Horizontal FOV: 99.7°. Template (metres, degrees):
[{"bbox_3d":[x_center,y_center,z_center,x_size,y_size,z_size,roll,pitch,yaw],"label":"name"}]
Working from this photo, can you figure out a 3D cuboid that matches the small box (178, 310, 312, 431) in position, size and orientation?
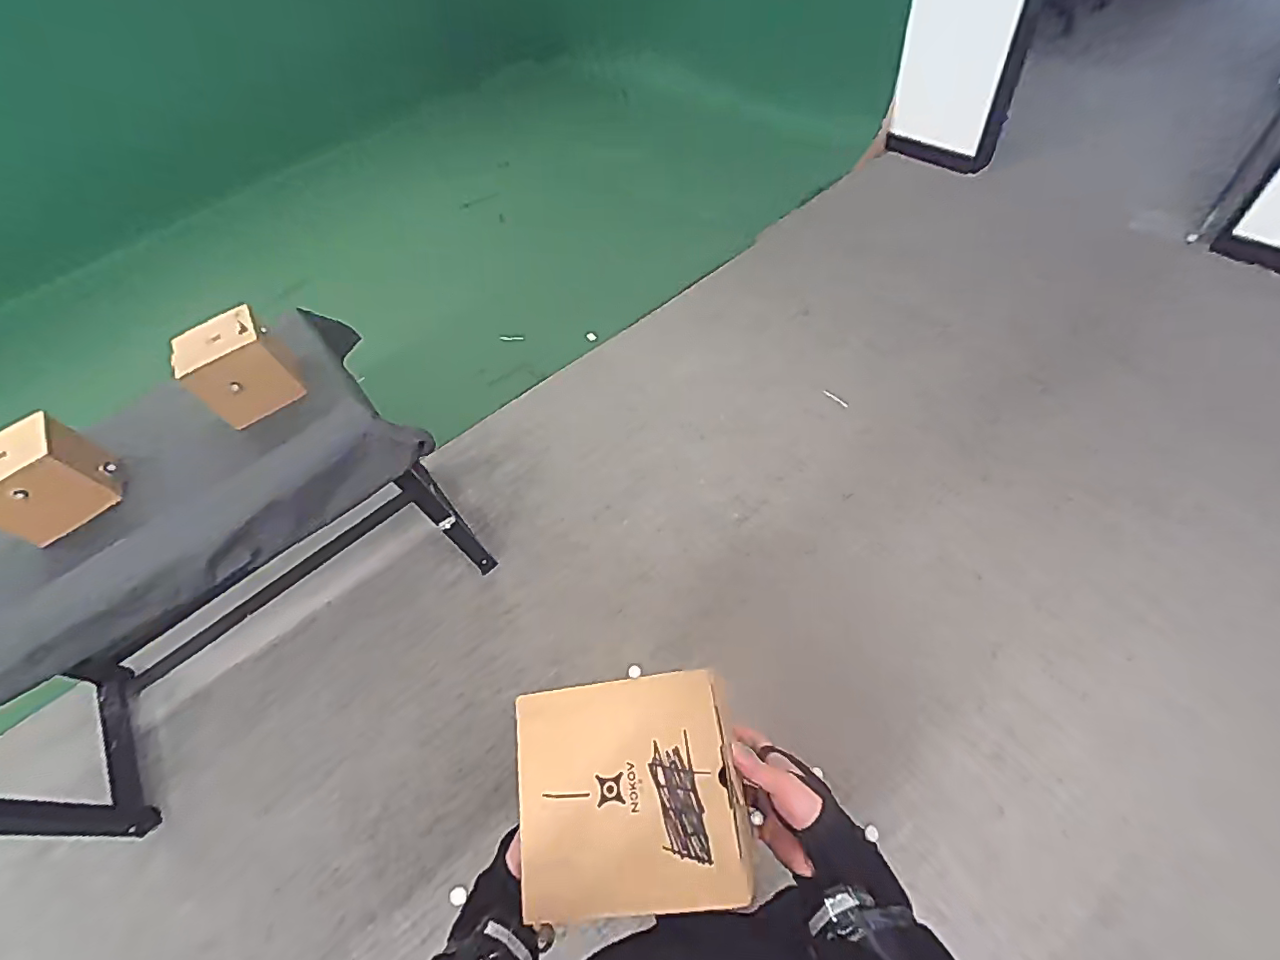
[{"bbox_3d":[-0.894,-0.244,1.230,0.179,0.176,0.168,-33,56,-10],"label":"small box"}]

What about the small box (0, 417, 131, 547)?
[{"bbox_3d":[-1.237,0.008,1.135,0.179,0.176,0.168,-37,58,-15],"label":"small box"}]
